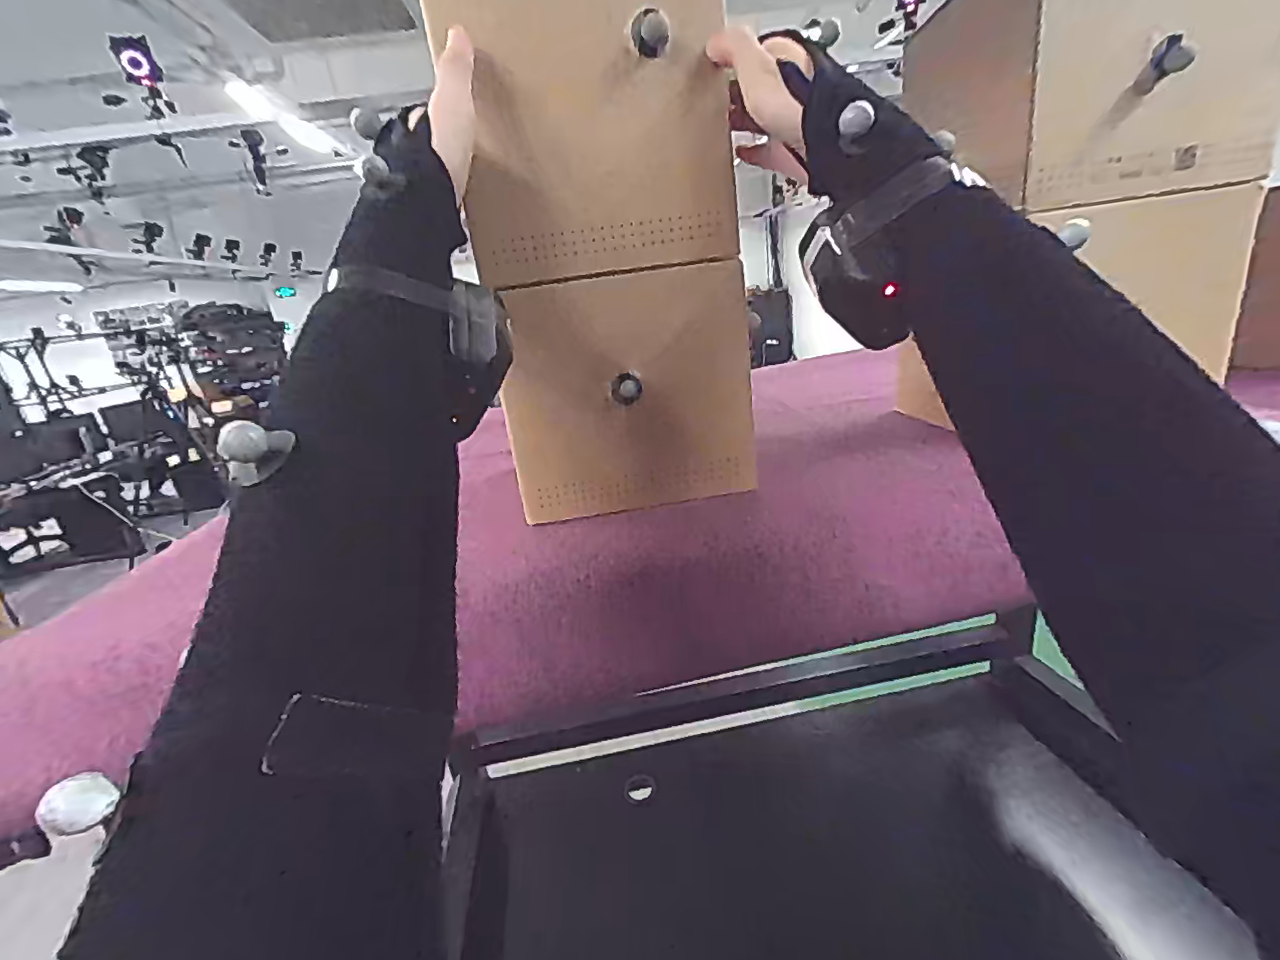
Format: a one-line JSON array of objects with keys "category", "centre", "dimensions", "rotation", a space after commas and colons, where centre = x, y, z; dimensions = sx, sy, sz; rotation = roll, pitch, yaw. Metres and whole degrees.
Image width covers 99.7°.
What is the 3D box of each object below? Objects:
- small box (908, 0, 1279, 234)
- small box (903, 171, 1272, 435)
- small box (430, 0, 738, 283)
[{"category": "small box", "centre": [0.326, -0.295, 0.412], "dimensions": [0.168, 0.176, 0.179], "rotation": [-7, 18, 1]}, {"category": "small box", "centre": [0.346, -0.139, 0.460], "dimensions": [0.168, 0.176, 0.179], "rotation": [-8, 17, 0]}, {"category": "small box", "centre": [-0.031, -0.244, 0.398], "dimensions": [0.179, 0.176, 0.168], "rotation": [-9, 19, -3]}]
